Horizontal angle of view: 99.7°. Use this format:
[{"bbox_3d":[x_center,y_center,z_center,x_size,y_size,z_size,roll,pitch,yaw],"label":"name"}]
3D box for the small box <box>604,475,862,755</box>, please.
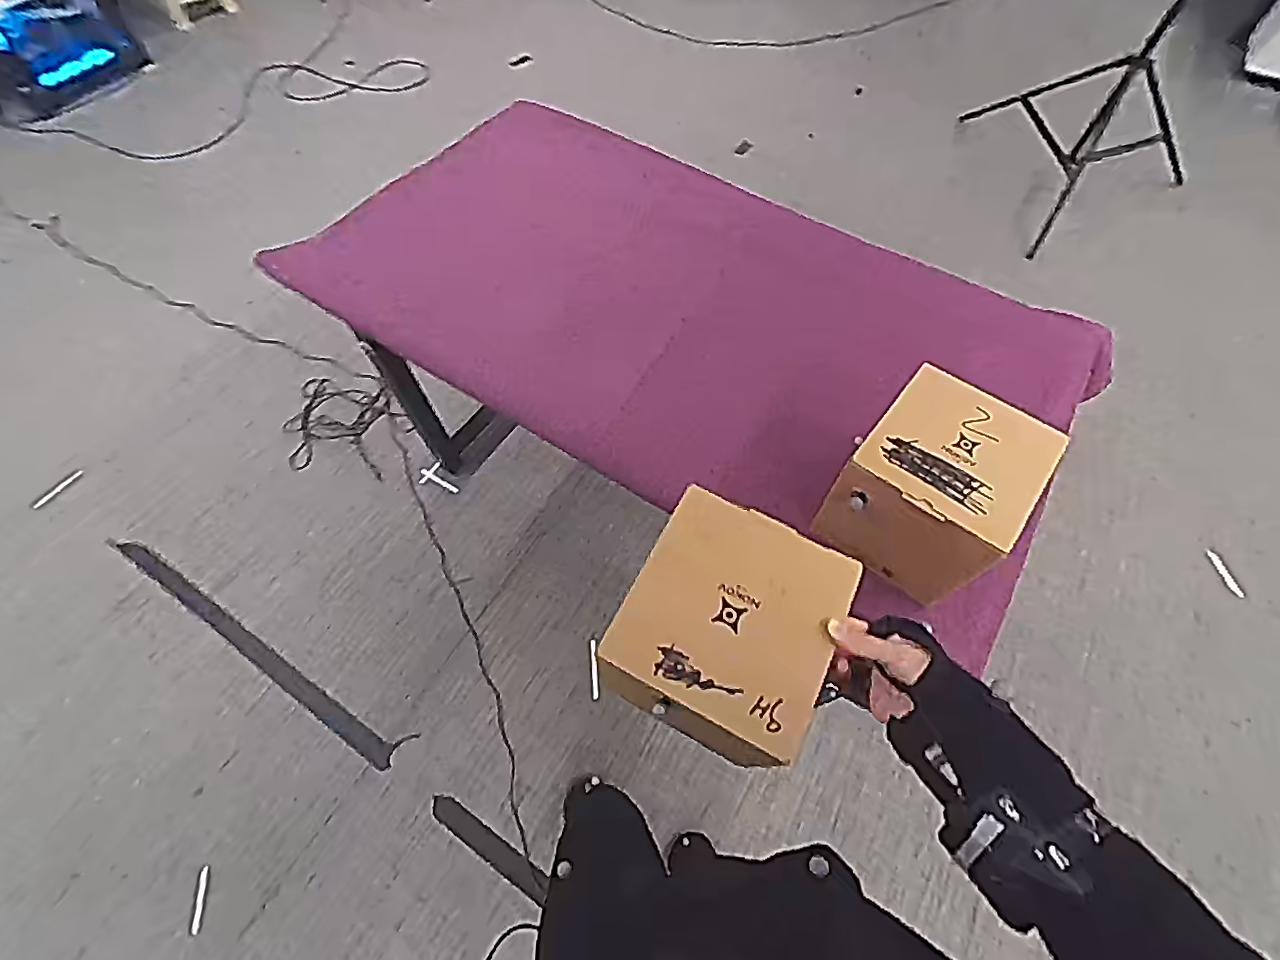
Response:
[{"bbox_3d":[0.074,0.133,0.510,0.168,0.176,0.179,27,64,10],"label":"small box"}]
